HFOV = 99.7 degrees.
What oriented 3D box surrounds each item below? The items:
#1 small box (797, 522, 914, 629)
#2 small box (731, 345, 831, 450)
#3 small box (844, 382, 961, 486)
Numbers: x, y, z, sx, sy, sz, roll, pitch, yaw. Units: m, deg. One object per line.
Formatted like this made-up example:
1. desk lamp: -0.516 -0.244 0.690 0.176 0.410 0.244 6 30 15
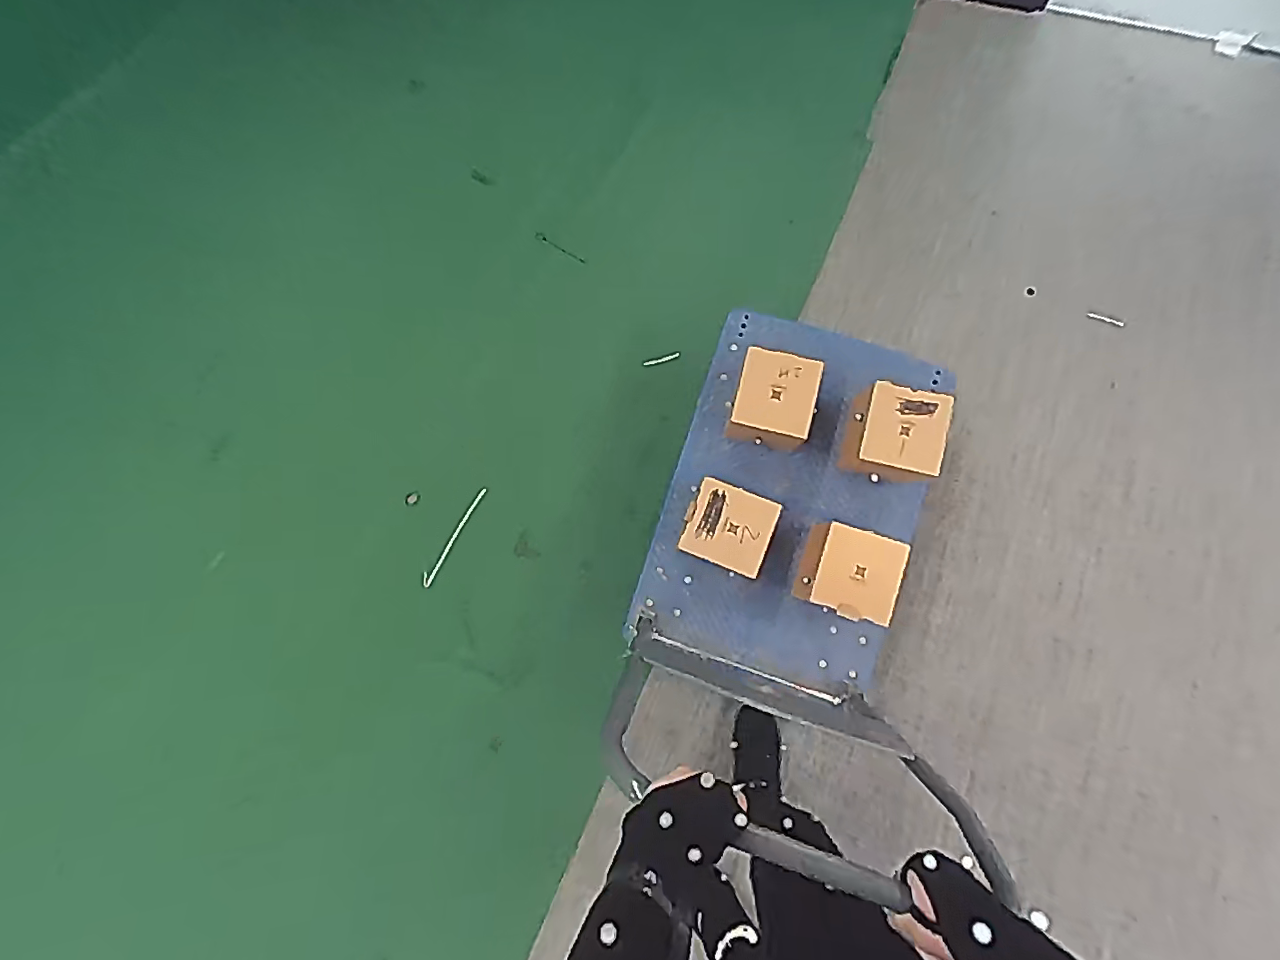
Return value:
1. small box: 0.457 0.201 1.175 0.168 0.176 0.179 19 86 6
2. small box: 0.311 -0.178 1.228 0.168 0.176 0.179 16 85 4
3. small box: 0.572 -0.095 1.201 0.168 0.176 0.179 15 85 6
